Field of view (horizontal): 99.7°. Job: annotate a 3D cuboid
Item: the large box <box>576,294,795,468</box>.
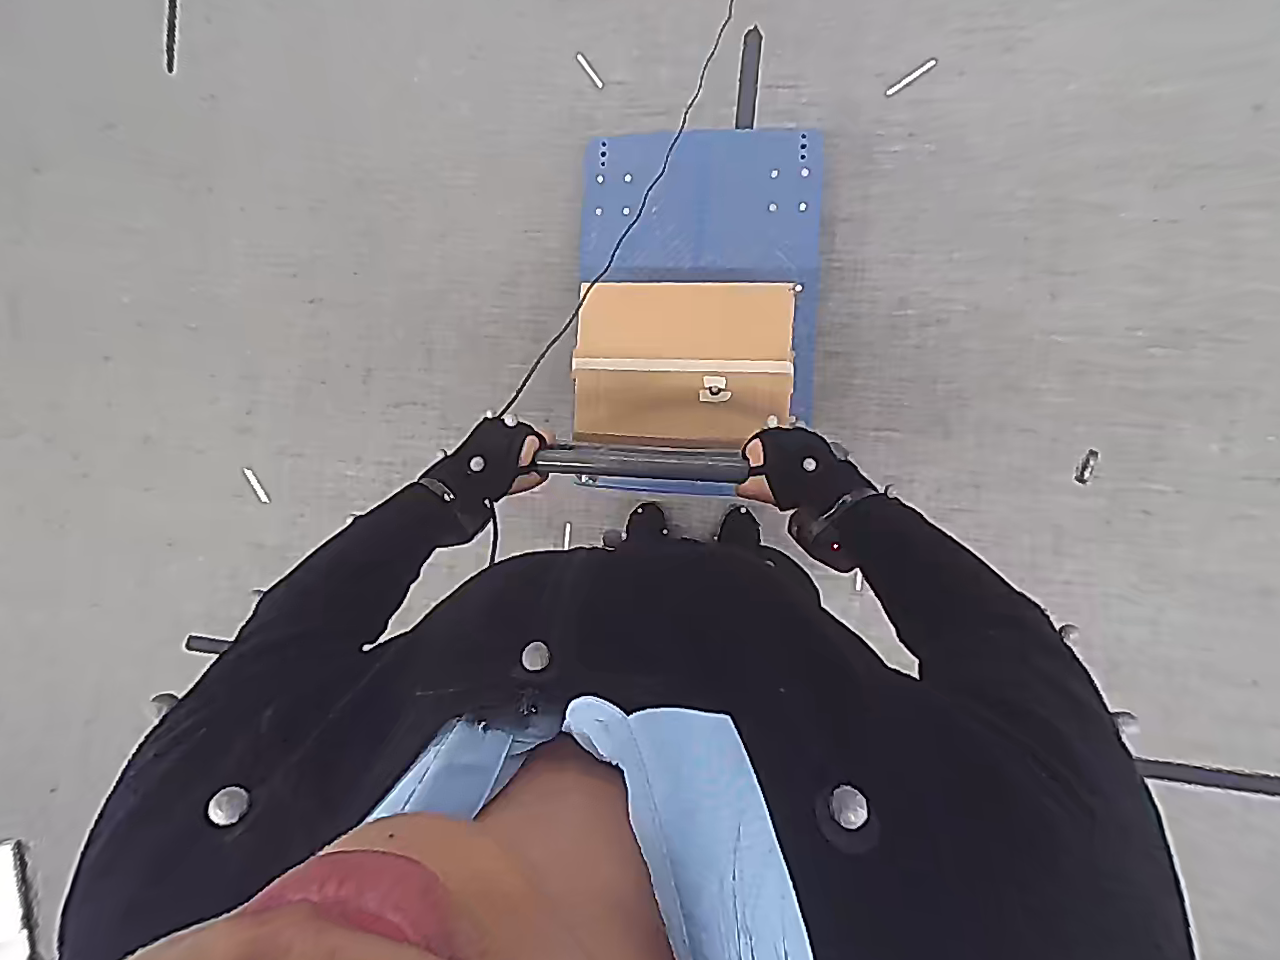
[{"bbox_3d":[0.096,-0.190,1.151,0.408,0.320,0.320,3,91,7],"label":"large box"}]
